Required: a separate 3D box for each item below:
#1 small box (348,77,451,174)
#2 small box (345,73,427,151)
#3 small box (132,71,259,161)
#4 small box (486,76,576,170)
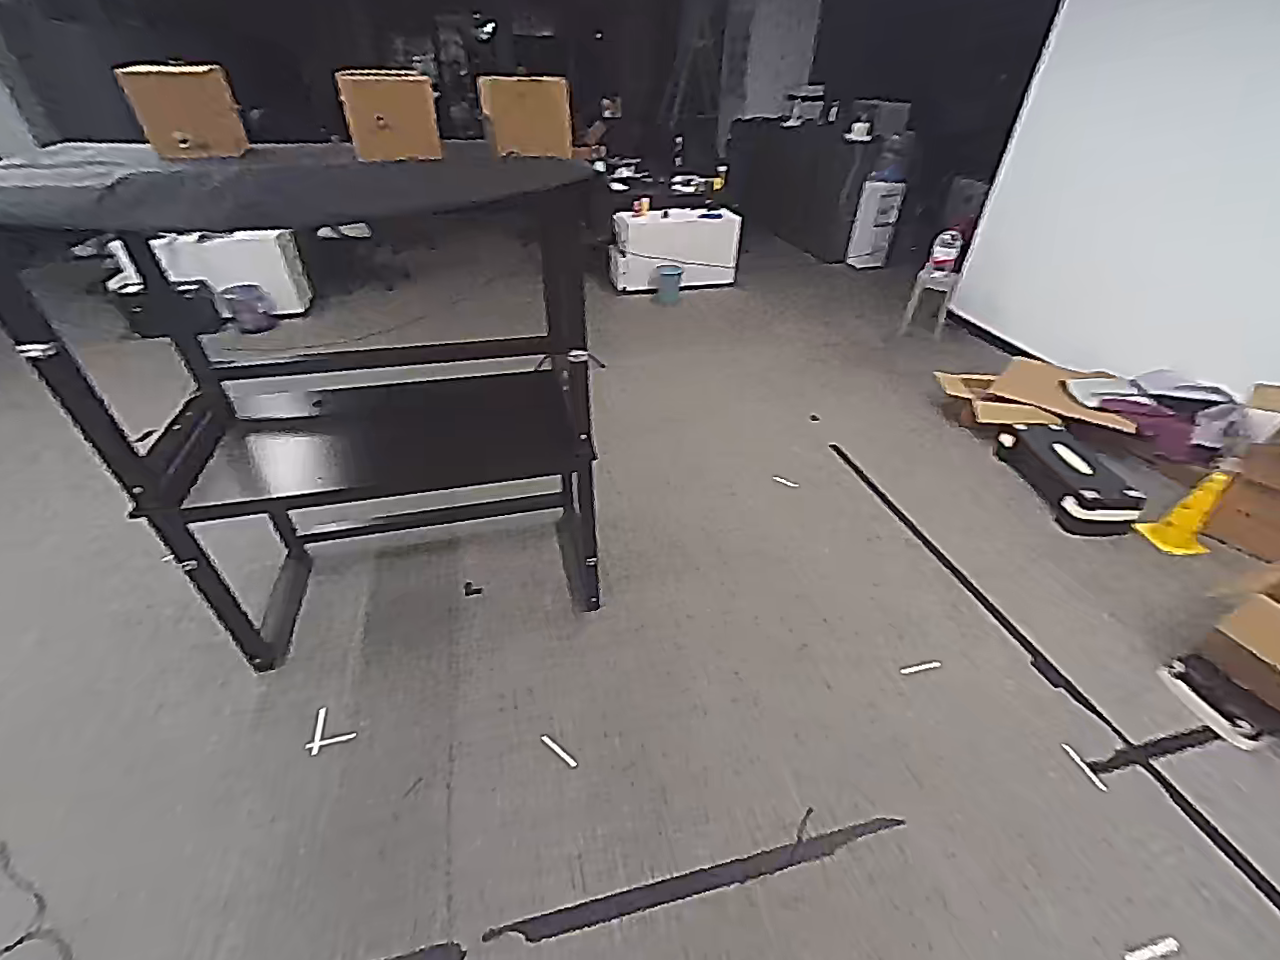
[{"bbox_3d":[-0.514,-0.774,1.183,0.168,0.176,0.179,-10,38,-13],"label":"small box"},{"bbox_3d":[-0.626,-0.940,1.391,0.179,0.176,0.168,-8,40,-12],"label":"small box"},{"bbox_3d":[-1.041,-0.867,1.287,0.168,0.176,0.179,-13,40,-16],"label":"small box"},{"bbox_3d":[-0.246,-0.811,1.231,0.168,0.176,0.179,-12,38,-16],"label":"small box"}]
